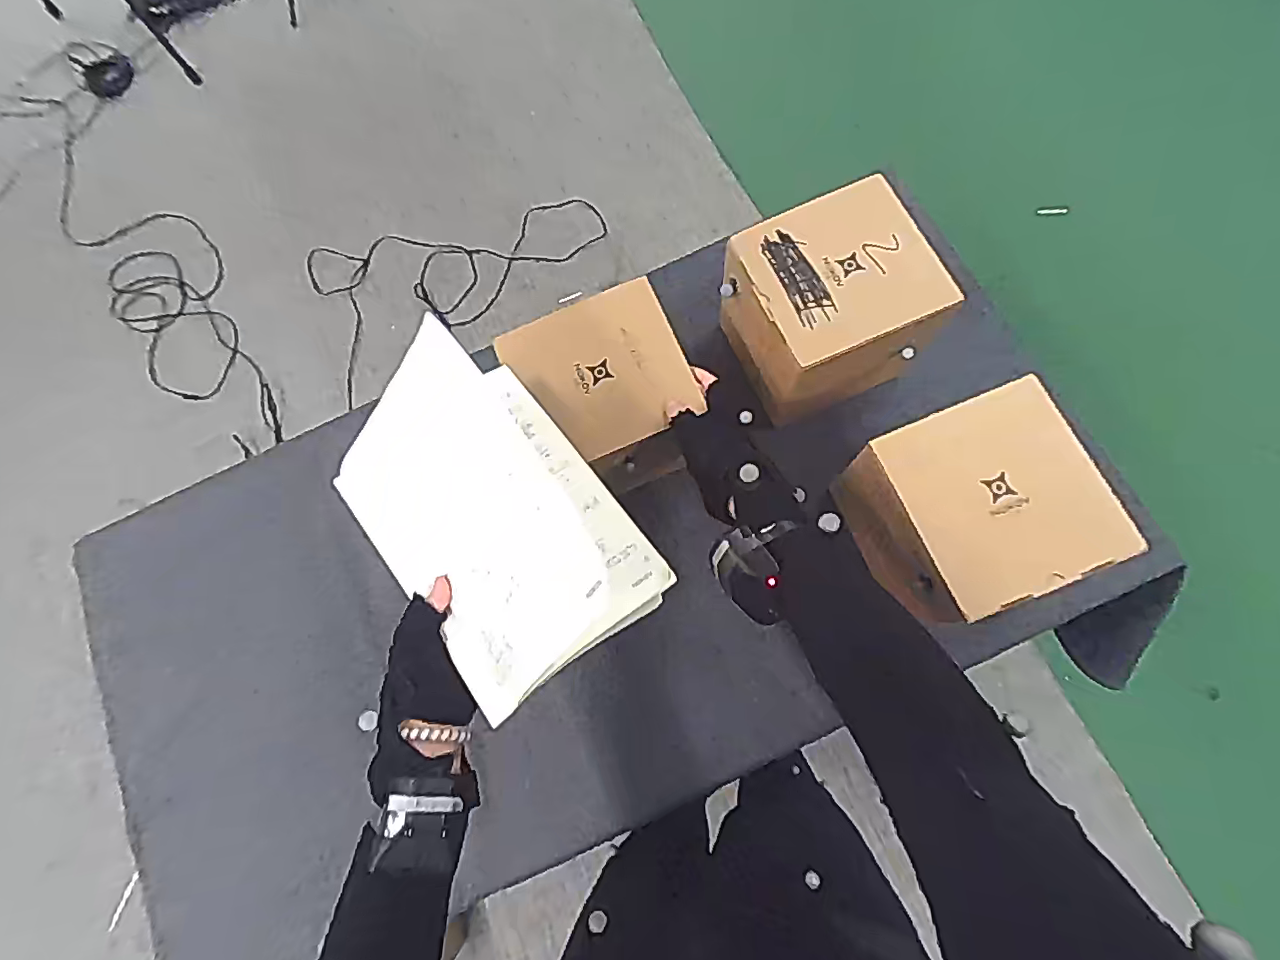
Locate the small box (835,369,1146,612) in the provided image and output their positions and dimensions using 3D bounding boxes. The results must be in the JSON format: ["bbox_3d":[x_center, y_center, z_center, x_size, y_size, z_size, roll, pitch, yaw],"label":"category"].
[{"bbox_3d":[0.323,0.023,0.547,0.168,0.176,0.179,-22,75,0],"label":"small box"}]
